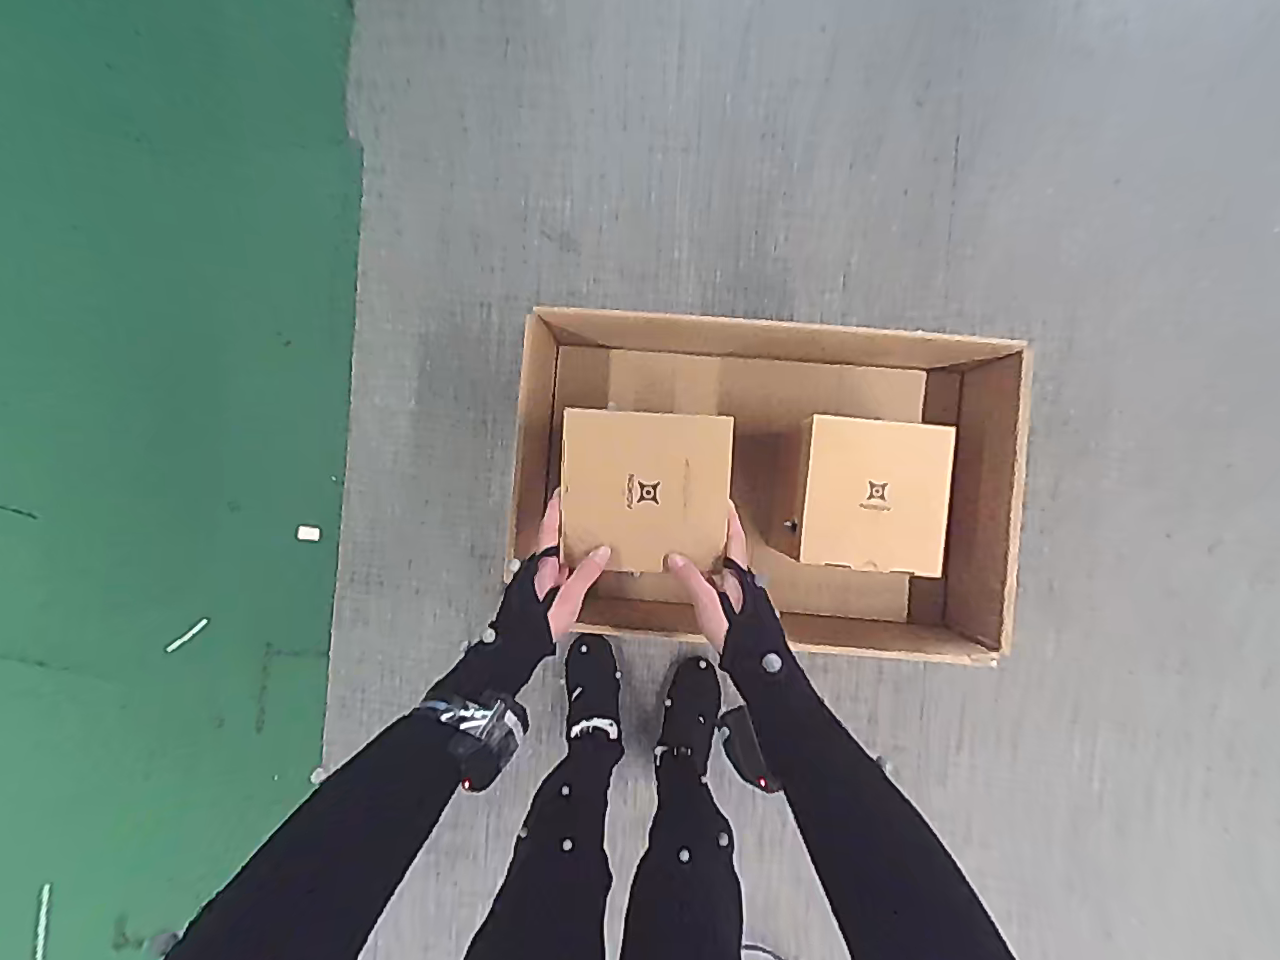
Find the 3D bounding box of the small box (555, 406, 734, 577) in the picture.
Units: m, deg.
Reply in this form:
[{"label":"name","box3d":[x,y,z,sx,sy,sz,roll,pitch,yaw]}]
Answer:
[{"label":"small box","box3d":[0.006,0.009,0.627,0.179,0.176,0.168,3,93,1]}]
